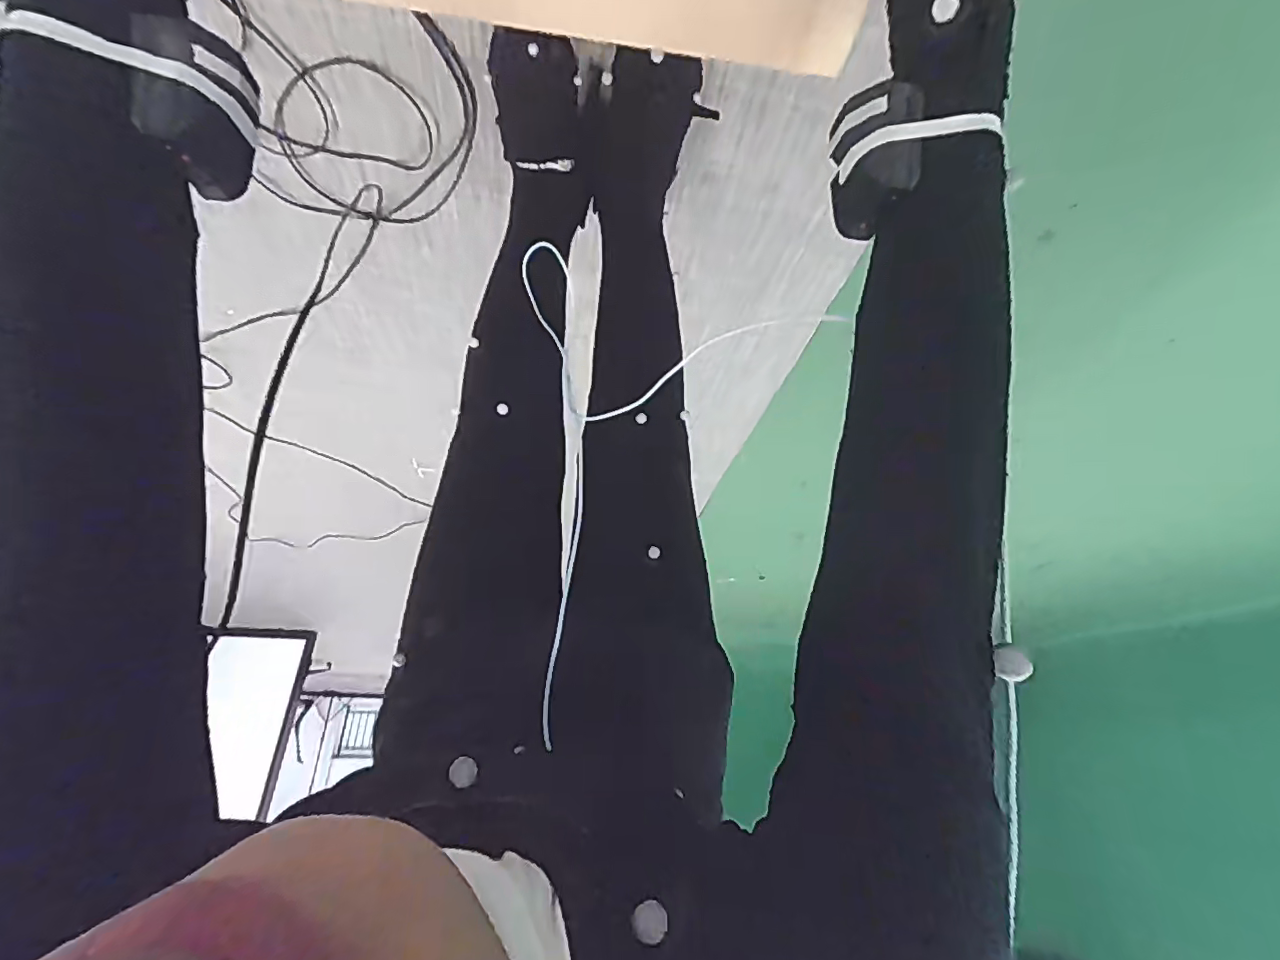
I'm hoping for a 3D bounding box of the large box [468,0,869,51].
[{"bbox_3d":[-0.020,-0.541,0.333,0.408,0.320,0.320,4,152,-6],"label":"large box"}]
